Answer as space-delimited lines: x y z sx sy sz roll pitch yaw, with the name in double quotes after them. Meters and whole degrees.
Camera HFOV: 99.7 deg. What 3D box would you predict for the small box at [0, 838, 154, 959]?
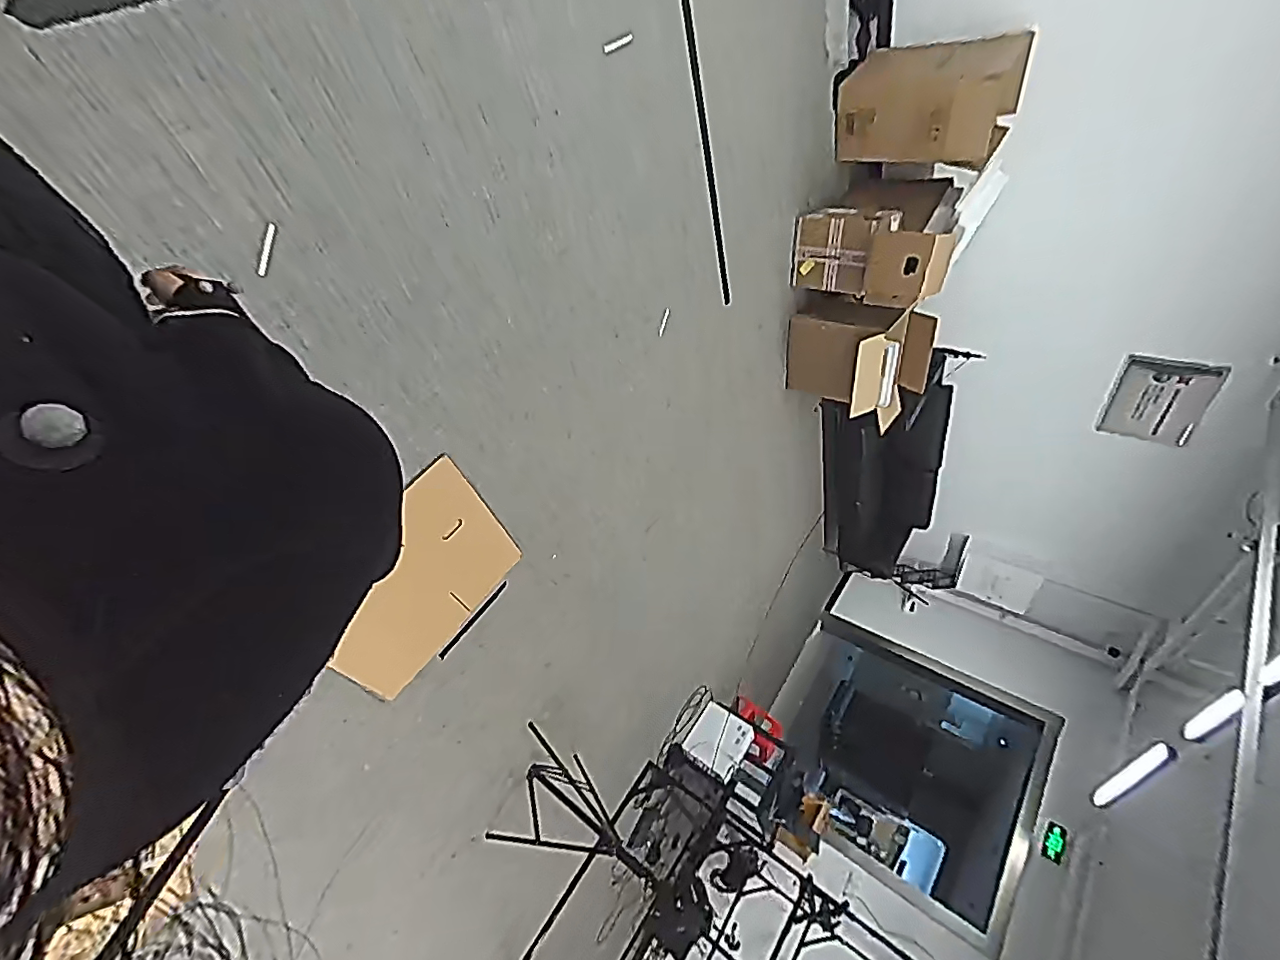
-1.048 0.818 1.003 0.179 0.176 0.168 5 102 -54 "small box"
